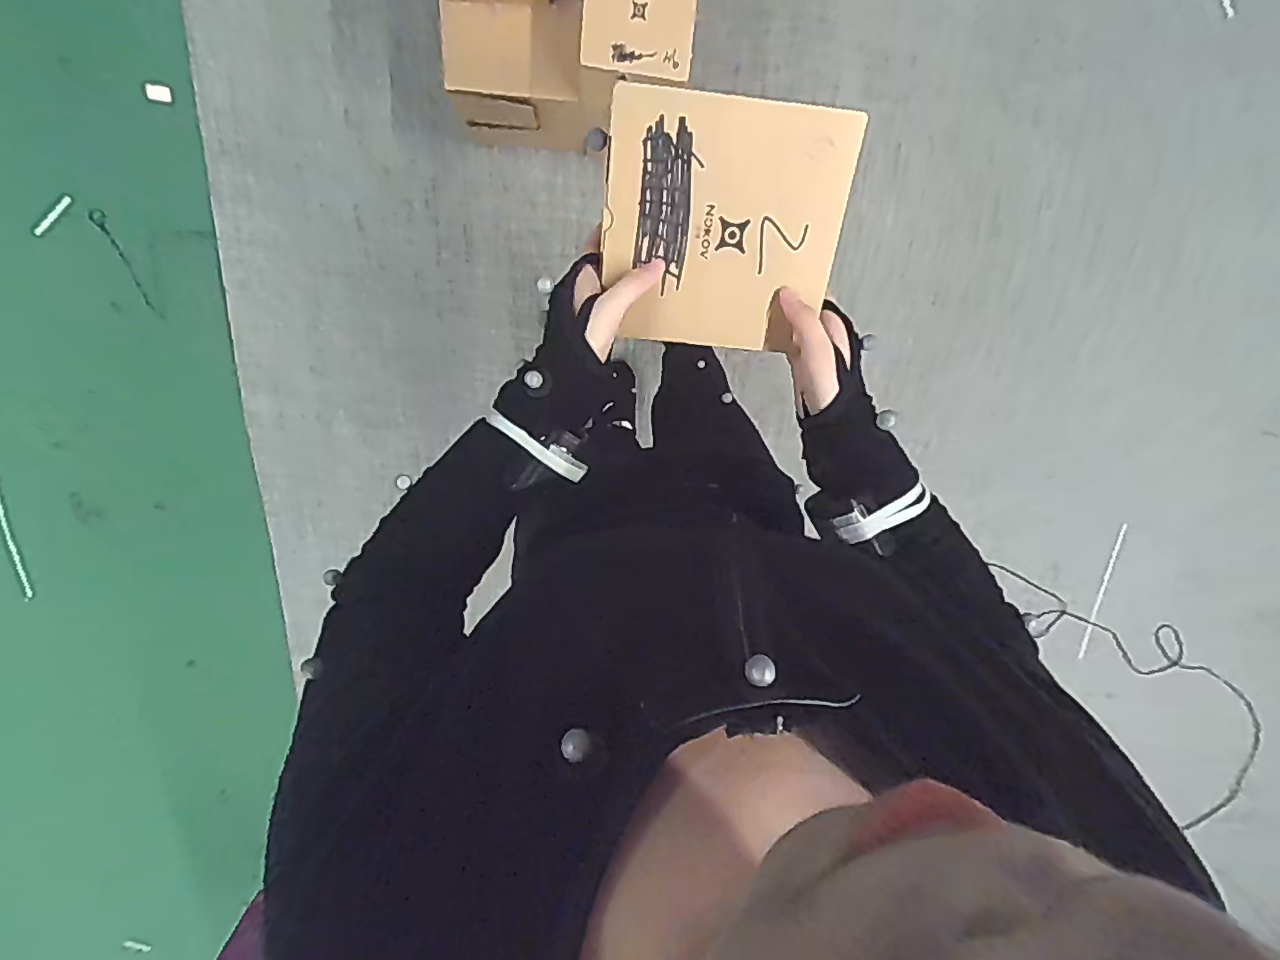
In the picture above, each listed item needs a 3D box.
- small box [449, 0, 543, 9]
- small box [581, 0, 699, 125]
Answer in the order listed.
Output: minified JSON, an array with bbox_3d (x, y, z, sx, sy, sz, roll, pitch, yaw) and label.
[{"bbox_3d":[-0.229,-0.850,0.810,0.179,0.176,0.168,1,105,-3],"label":"small box"},{"bbox_3d":[-0.005,-0.706,0.865,0.168,0.176,0.179,5,106,-6],"label":"small box"}]
